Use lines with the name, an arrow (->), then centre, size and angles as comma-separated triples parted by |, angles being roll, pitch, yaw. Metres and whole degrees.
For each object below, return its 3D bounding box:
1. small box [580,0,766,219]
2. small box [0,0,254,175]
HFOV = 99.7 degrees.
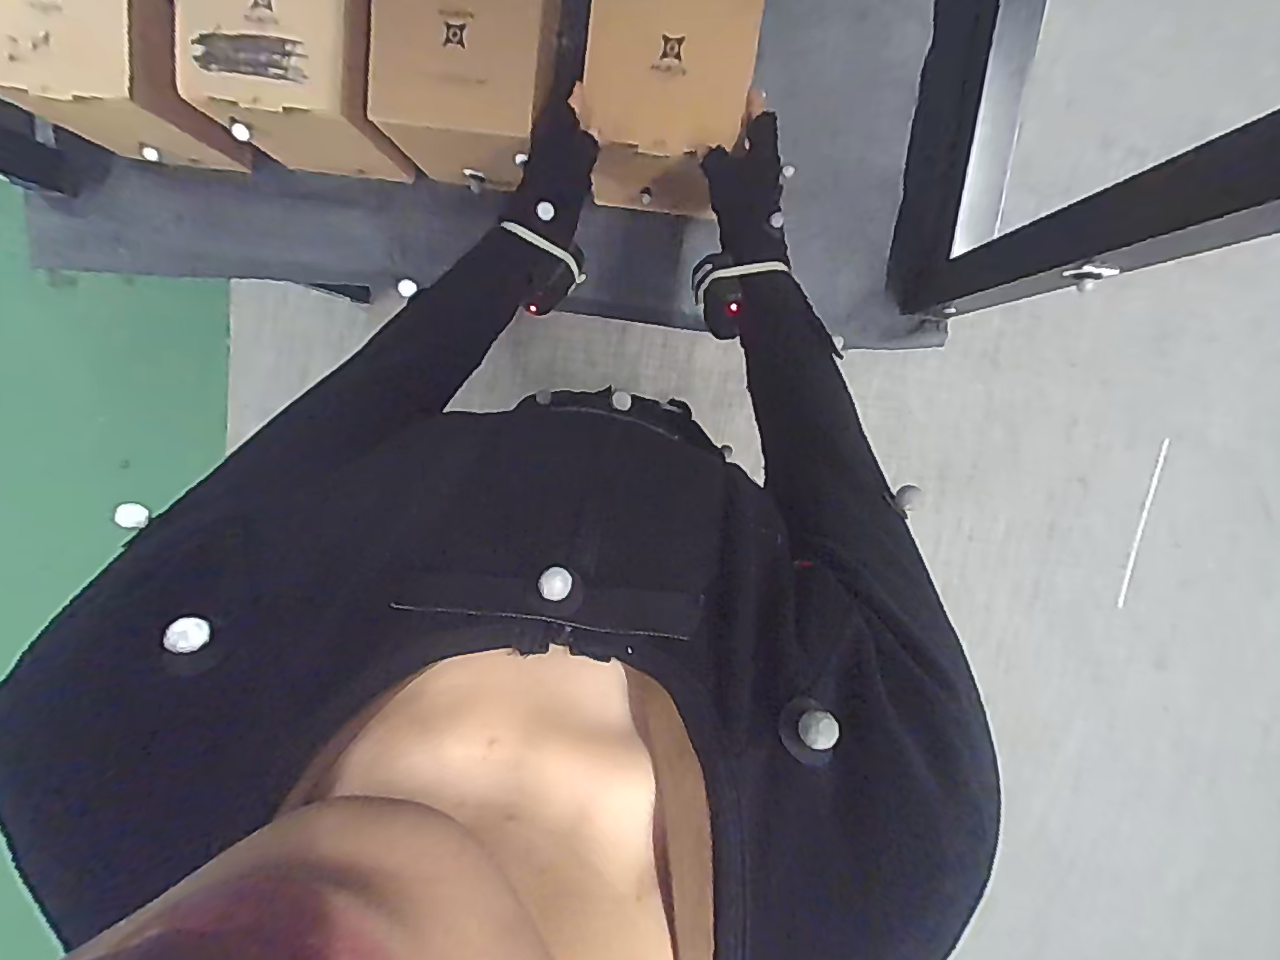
small box -> 0.032, -0.418, 0.601 | 0.168, 0.176, 0.179 | 7, 98, 1
small box -> -0.565, -0.472, 0.598 | 0.168, 0.176, 0.179 | 6, 98, 0
